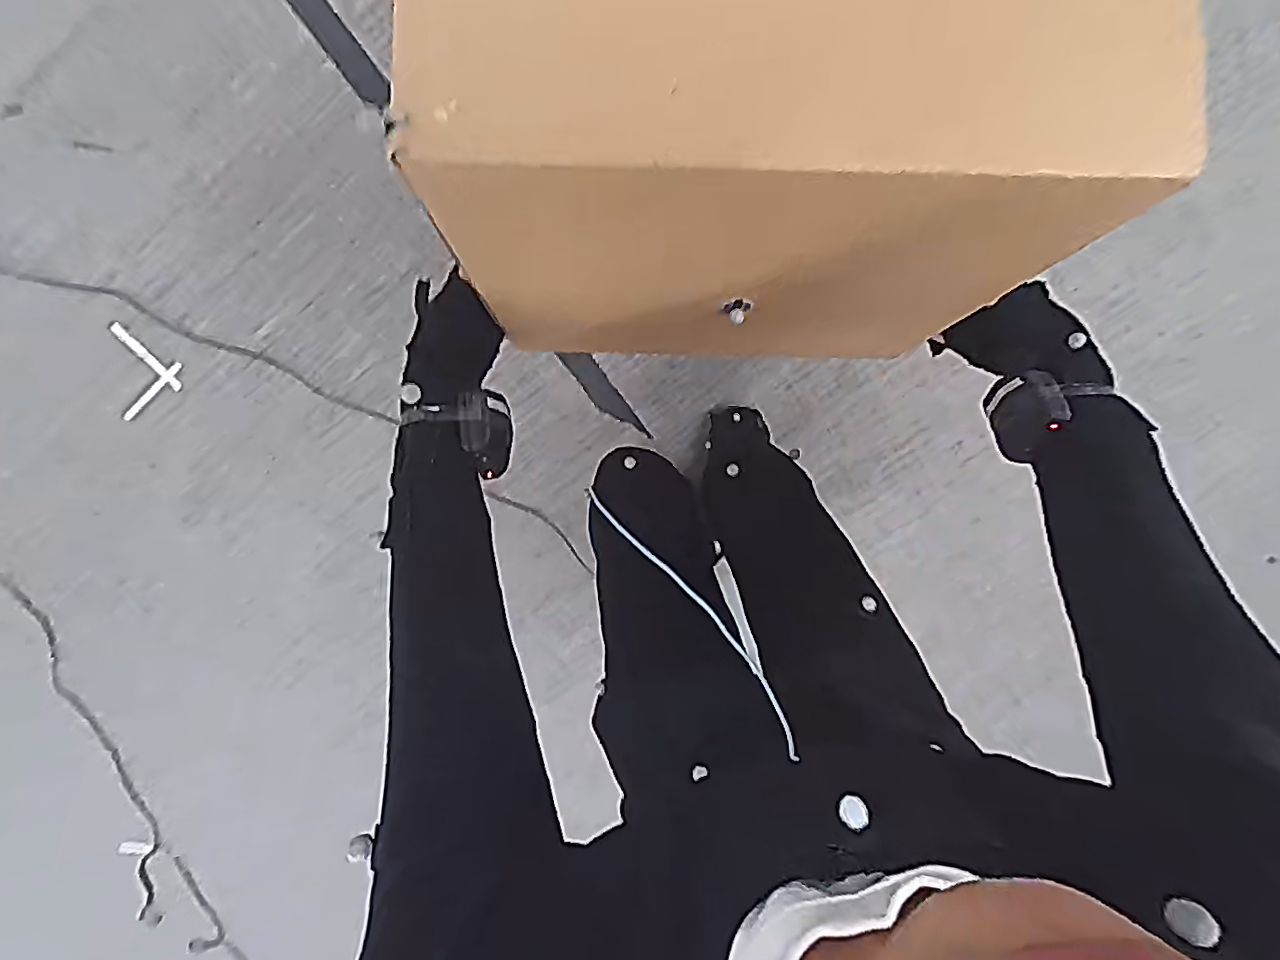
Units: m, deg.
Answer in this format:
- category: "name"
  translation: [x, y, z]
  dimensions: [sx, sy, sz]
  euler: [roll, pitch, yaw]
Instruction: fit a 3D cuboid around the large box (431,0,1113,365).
- category: "large box"
  translation: [0.075, -0.295, 0.472]
  dimensions: [0.408, 0.320, 0.320]
  euler: [-1, 84, -1]
